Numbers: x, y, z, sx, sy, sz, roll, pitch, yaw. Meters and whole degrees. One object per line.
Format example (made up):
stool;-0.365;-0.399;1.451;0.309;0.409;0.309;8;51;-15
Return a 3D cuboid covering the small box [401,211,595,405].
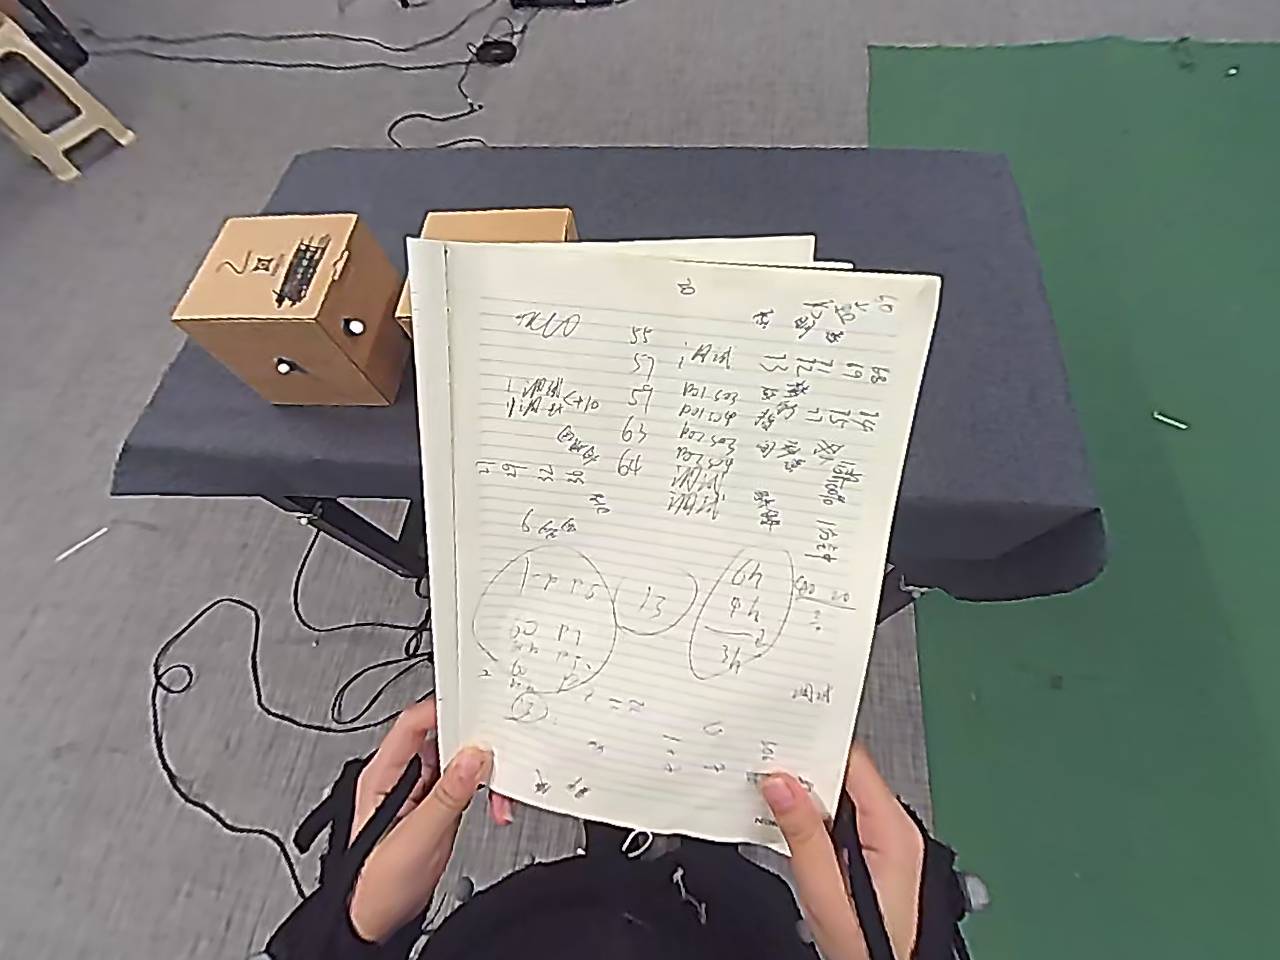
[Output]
small box;-0.161;-0.206;0.677;0.179;0.176;0.168;1;64;5
